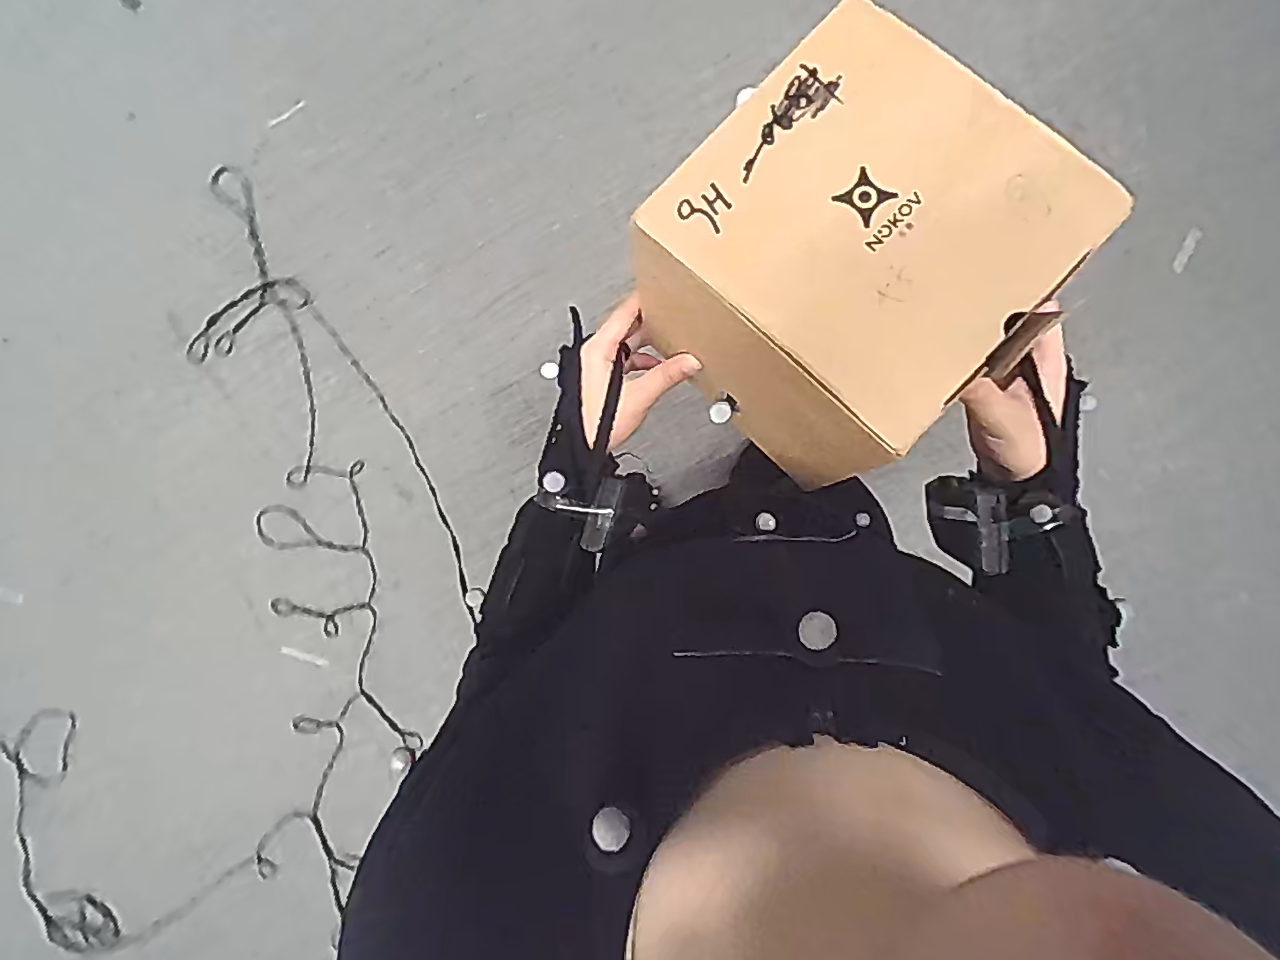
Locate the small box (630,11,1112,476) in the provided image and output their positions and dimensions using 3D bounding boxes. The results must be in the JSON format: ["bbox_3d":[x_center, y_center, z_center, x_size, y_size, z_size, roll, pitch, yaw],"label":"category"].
[{"bbox_3d":[0.115,-0.116,0.344,0.179,0.176,0.168,45,87,6],"label":"small box"}]
